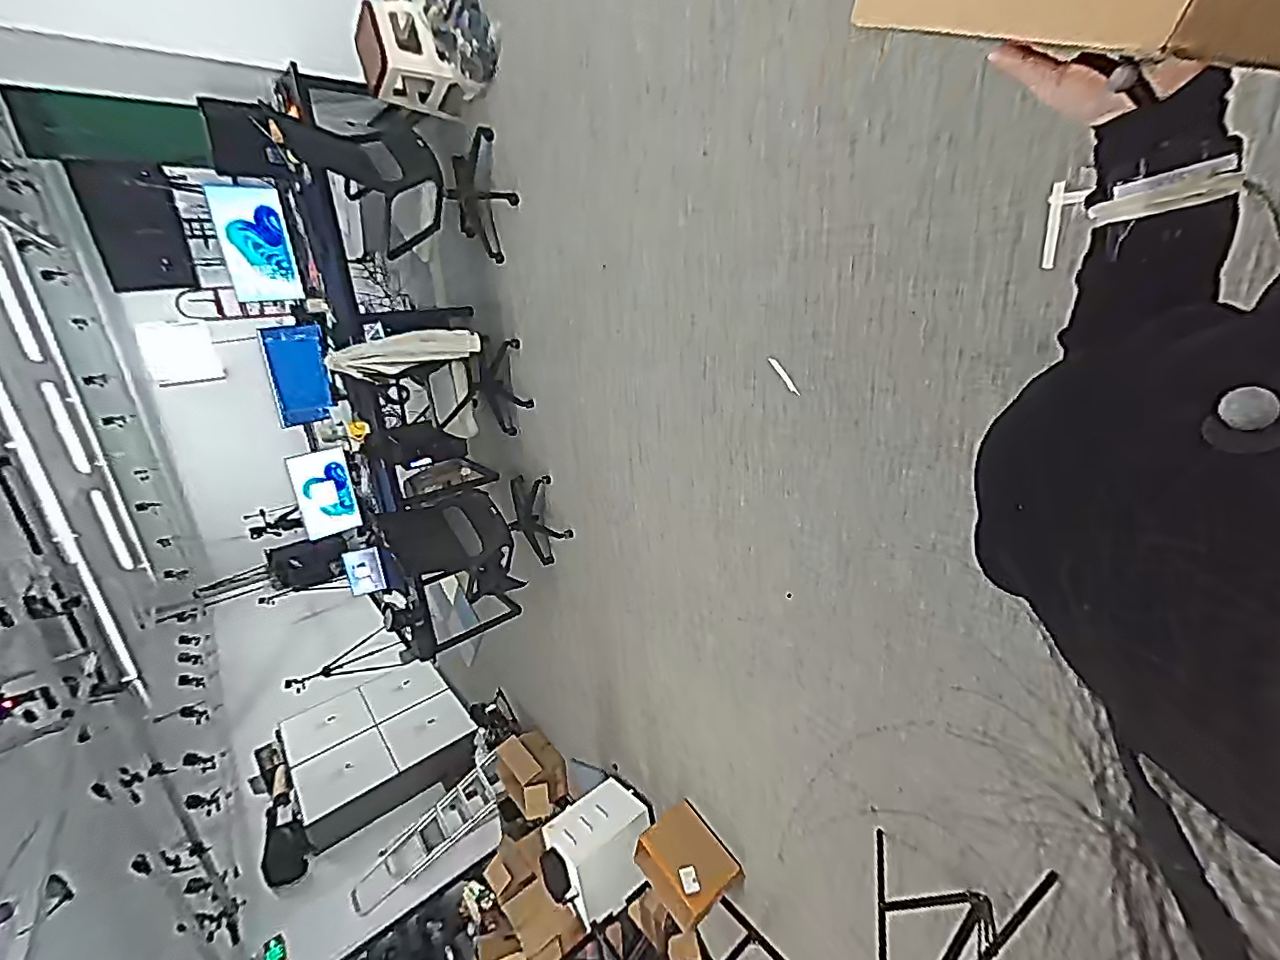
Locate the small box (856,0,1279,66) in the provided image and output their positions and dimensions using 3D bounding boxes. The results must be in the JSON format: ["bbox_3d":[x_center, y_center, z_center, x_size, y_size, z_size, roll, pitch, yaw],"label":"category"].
[{"bbox_3d":[0.249,-0.309,0.257,0.179,0.176,0.168,50,147,40],"label":"small box"}]
